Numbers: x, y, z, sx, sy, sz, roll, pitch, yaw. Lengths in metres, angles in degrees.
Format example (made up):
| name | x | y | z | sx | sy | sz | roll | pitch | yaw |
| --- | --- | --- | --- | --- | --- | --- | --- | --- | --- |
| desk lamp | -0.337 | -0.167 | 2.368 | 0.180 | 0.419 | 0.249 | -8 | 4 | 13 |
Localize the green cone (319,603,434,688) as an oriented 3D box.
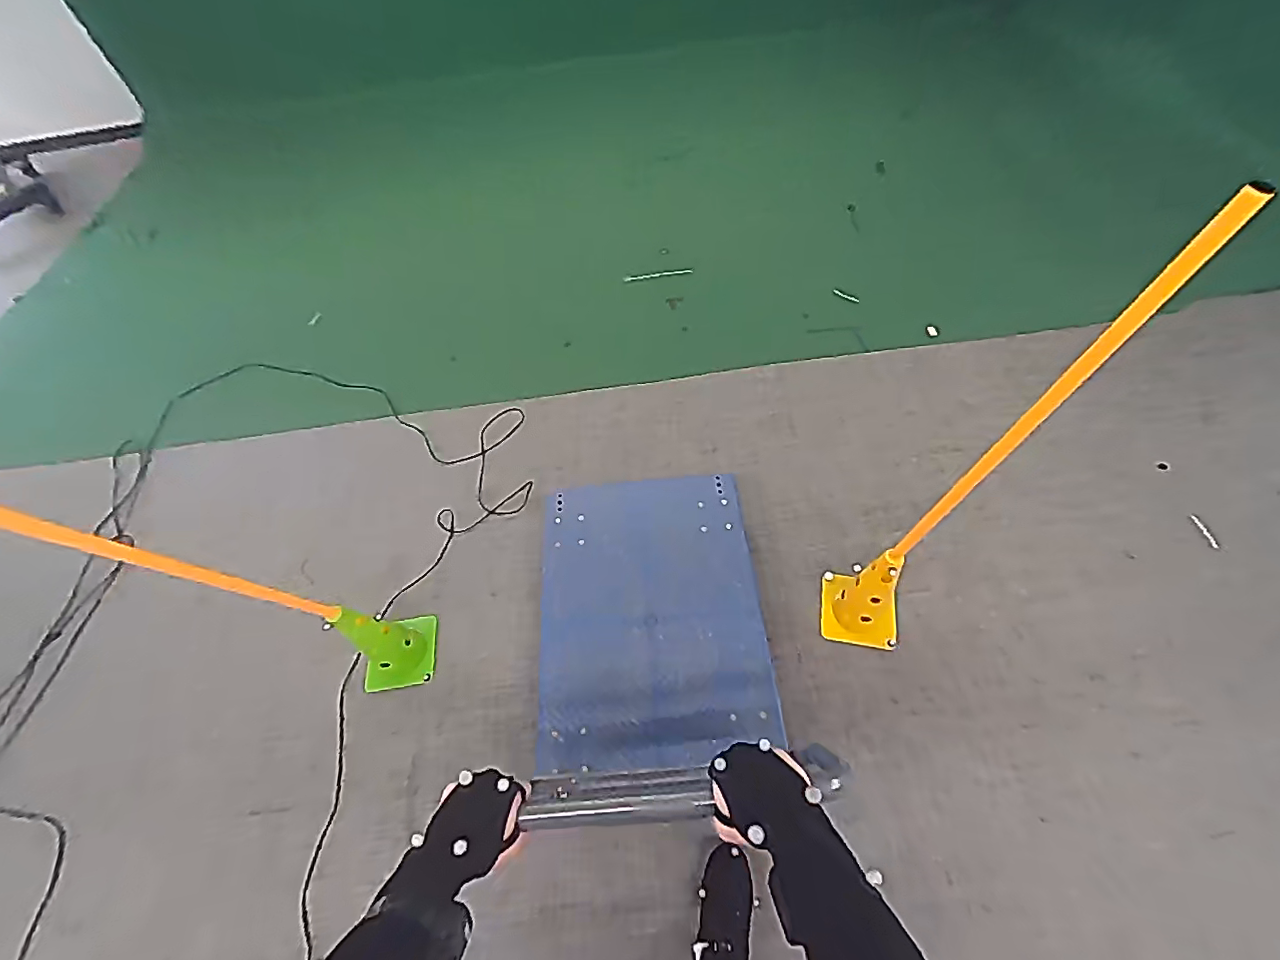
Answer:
| name | x | y | z | sx | sy | sz | roll | pitch | yaw |
| --- | --- | --- | --- | --- | --- | --- | --- | --- | --- |
| green cone | -0.730 | 0.406 | 1.455 | 0.202 | 0.368 | 0.200 | -12 | 56 | 1 |
